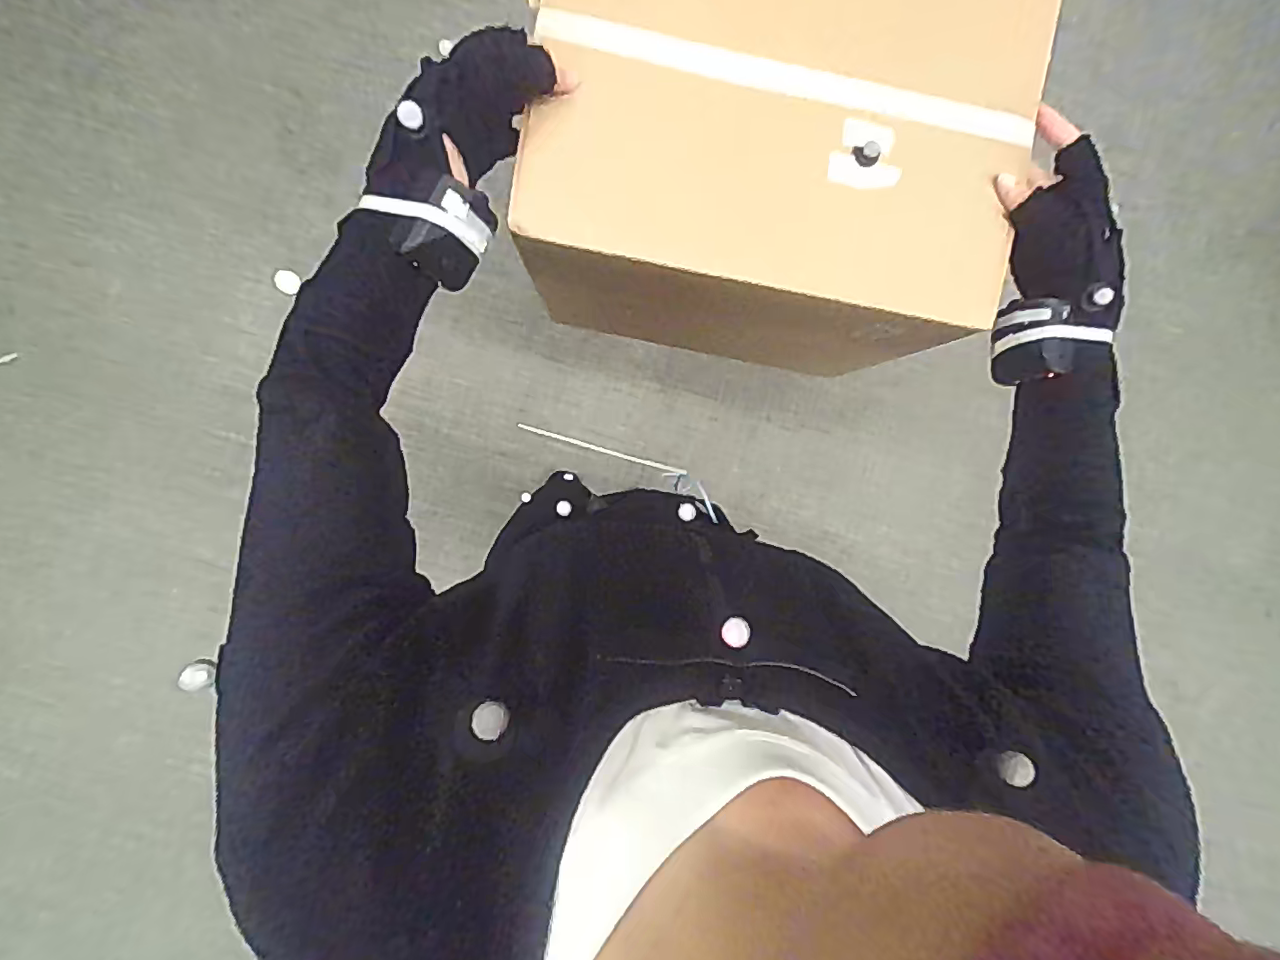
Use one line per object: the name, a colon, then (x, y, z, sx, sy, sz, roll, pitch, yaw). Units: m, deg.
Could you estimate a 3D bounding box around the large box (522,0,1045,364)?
large box: (0.109, -0.330, 0.581, 0.408, 0.320, 0.320, 9, 93, -5)
